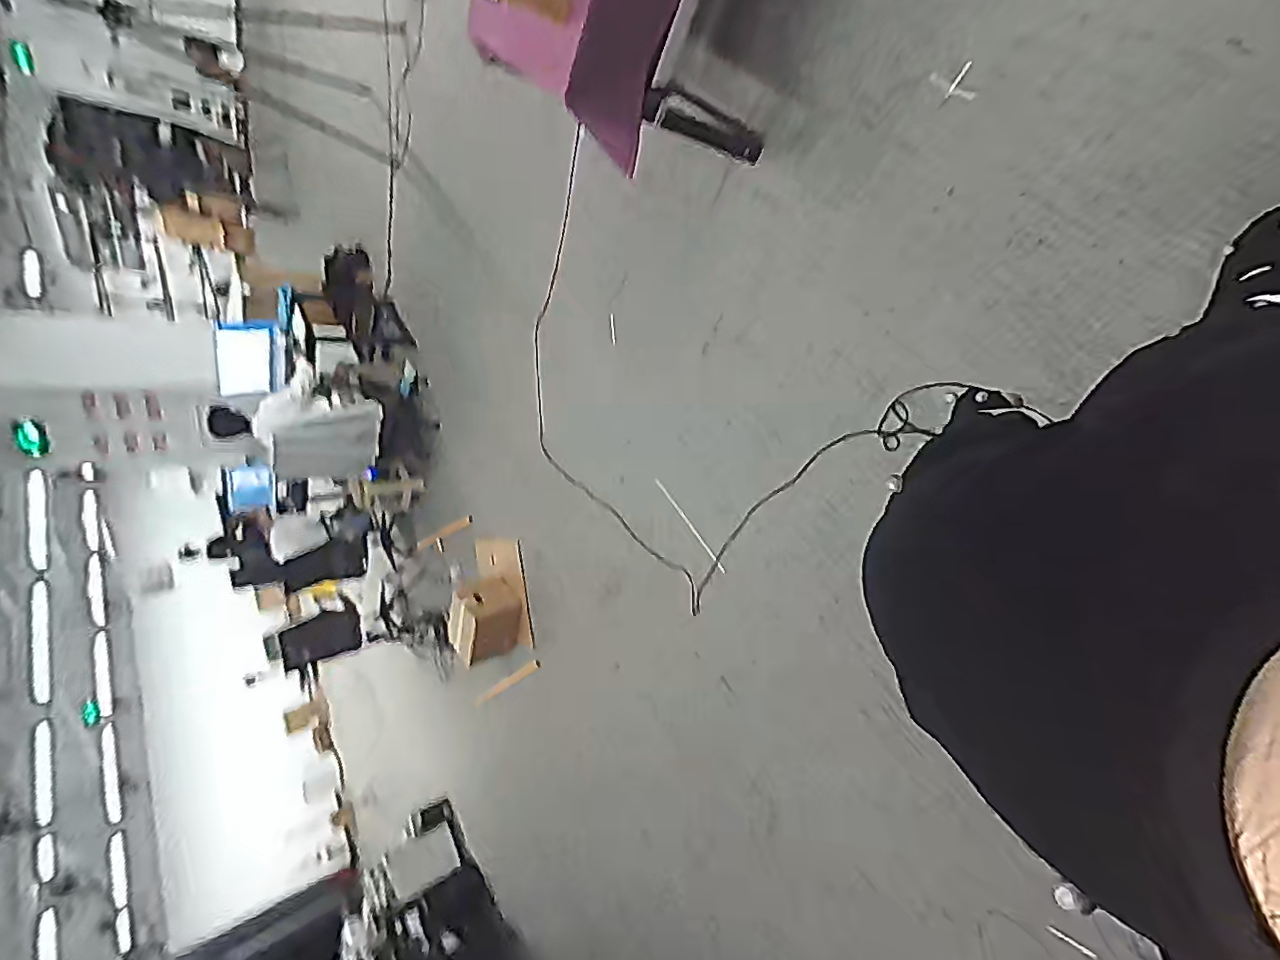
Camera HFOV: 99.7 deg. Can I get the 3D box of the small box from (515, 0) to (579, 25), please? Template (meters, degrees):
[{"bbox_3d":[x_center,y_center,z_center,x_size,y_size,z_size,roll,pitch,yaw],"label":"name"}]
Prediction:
[{"bbox_3d":[-0.224,-1.146,1.183,0.168,0.176,0.179,52,131,30],"label":"small box"}]
